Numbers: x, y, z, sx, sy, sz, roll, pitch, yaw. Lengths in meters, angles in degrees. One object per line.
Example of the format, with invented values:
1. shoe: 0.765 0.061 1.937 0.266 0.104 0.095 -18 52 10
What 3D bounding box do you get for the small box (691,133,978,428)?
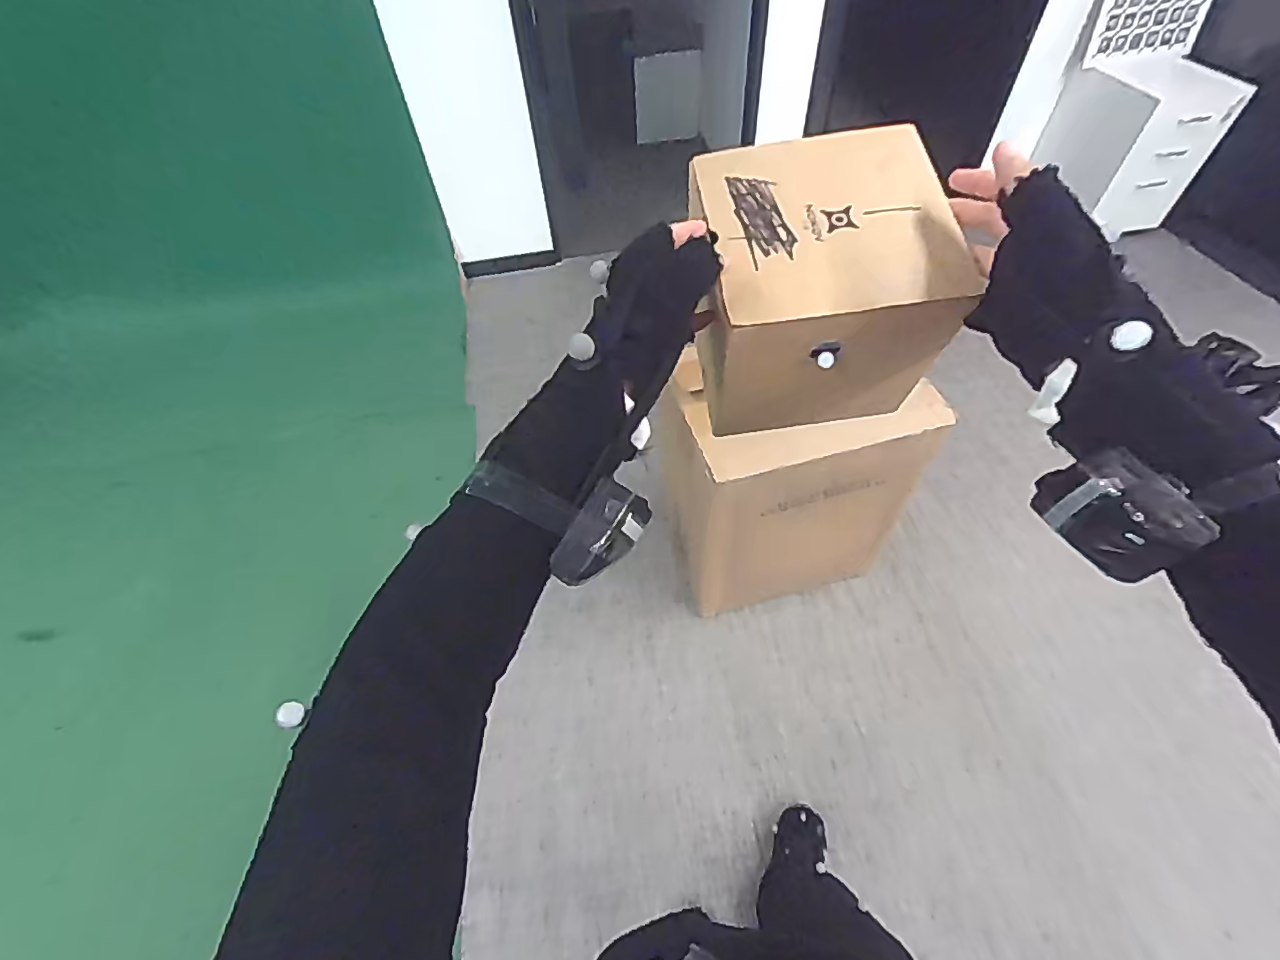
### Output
1. small box: 0.141 -0.158 0.472 0.179 0.176 0.168 -8 69 0
